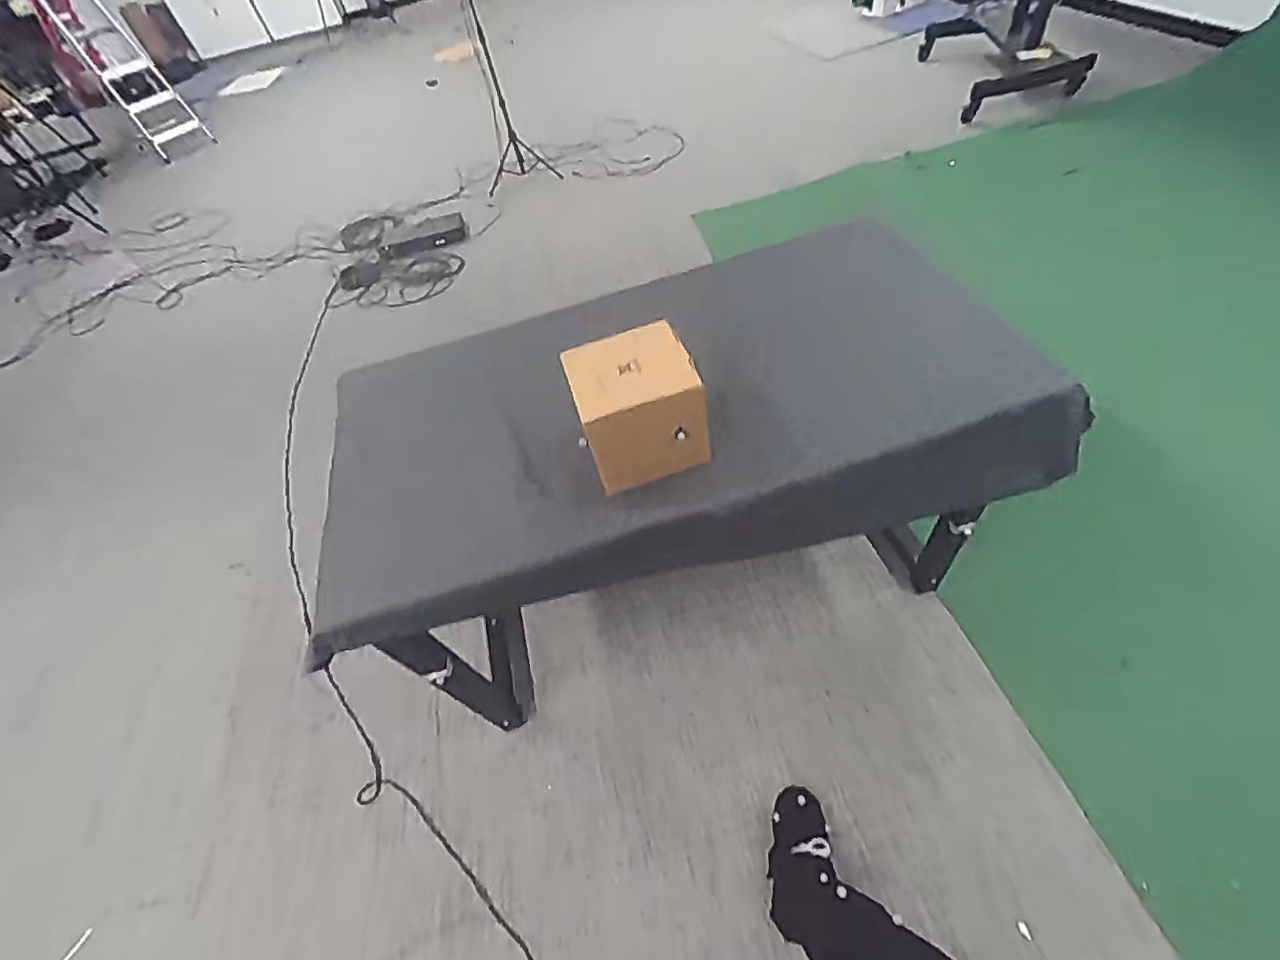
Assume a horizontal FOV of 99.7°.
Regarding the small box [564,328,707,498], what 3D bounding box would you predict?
[{"bbox_3d":[-0.001,-0.101,0.847,0.179,0.176,0.168,-20,50,-3],"label":"small box"}]
